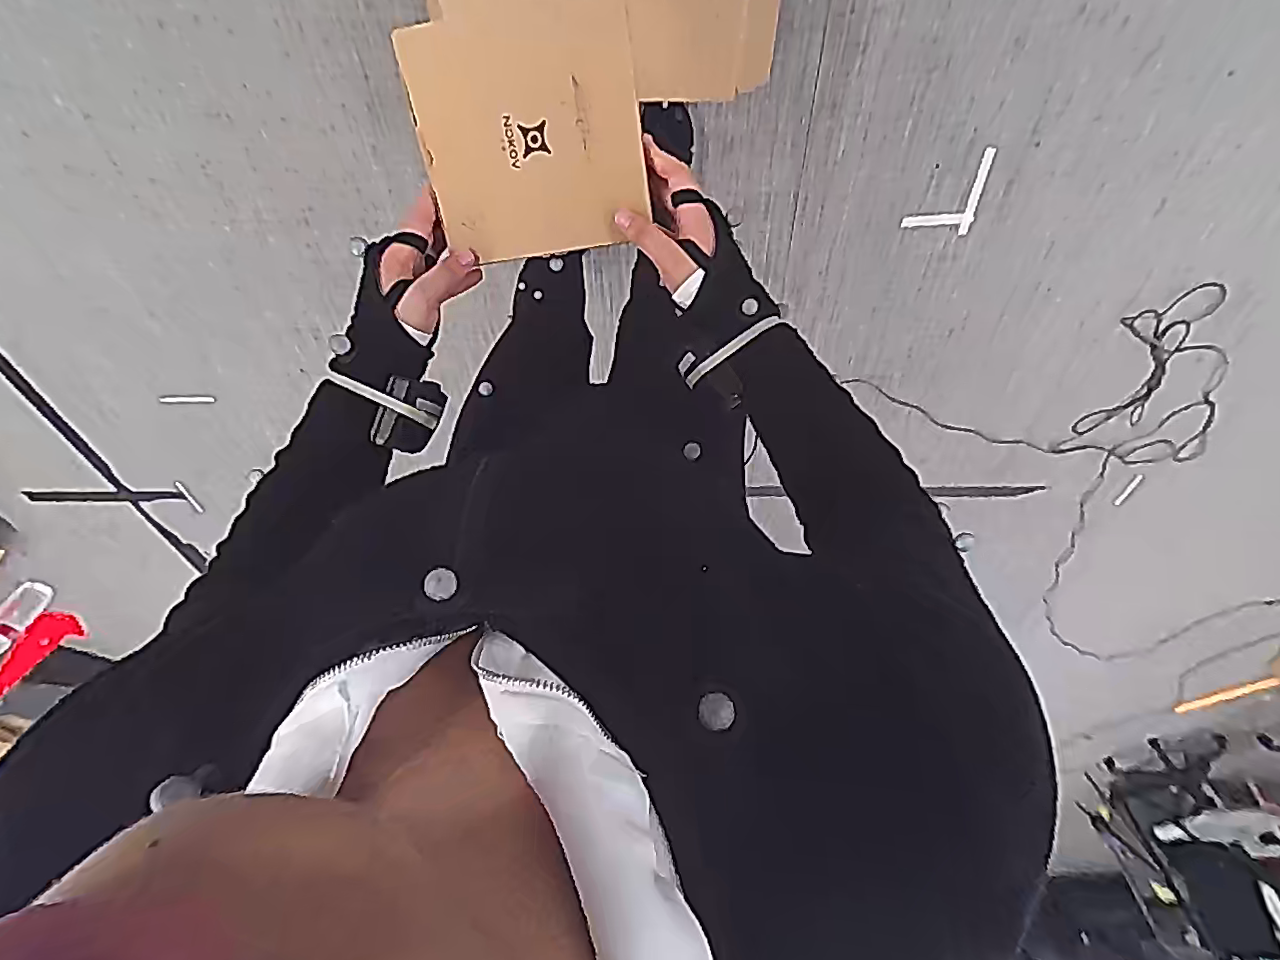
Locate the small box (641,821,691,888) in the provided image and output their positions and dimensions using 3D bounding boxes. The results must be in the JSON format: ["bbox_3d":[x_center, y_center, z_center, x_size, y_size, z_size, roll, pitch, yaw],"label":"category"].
[{"bbox_3d":[0.087,1.331,1.924,0.168,0.176,0.179,0,134,0],"label":"small box"}]

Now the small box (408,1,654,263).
[{"bbox_3d":[-0.081,-0.305,0.511,0.179,0.176,0.168,-7,114,4],"label":"small box"}]
